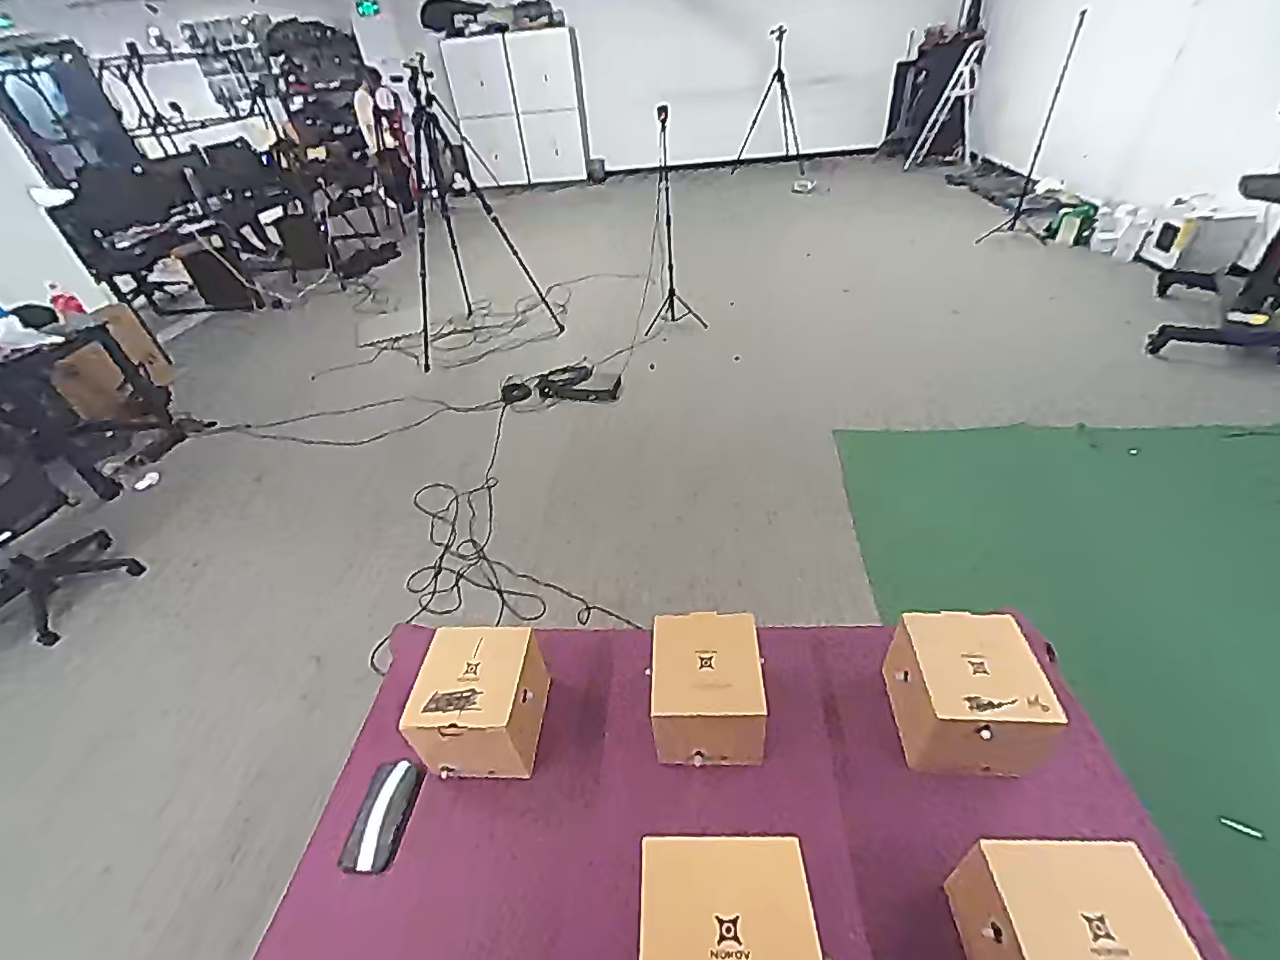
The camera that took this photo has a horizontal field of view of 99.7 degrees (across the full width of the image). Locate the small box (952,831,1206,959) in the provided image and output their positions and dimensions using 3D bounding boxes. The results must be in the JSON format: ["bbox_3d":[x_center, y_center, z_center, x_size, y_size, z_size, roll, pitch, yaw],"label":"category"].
[{"bbox_3d":[0.471,0.514,0.591,0.168,0.176,0.179,-4,40,7],"label":"small box"}]

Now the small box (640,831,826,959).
[{"bbox_3d":[0.086,0.482,0.531,0.168,0.176,0.179,-2,31,4],"label":"small box"}]

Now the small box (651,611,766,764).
[{"bbox_3d":[0.109,0.333,0.877,0.168,0.176,0.179,-3,40,7],"label":"small box"}]

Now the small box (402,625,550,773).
[{"bbox_3d":[-0.256,0.364,0.896,0.168,0.176,0.179,-2,39,6],"label":"small box"}]

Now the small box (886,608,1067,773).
[{"bbox_3d":[0.494,0.319,0.830,0.168,0.176,0.179,-2,39,8],"label":"small box"}]
